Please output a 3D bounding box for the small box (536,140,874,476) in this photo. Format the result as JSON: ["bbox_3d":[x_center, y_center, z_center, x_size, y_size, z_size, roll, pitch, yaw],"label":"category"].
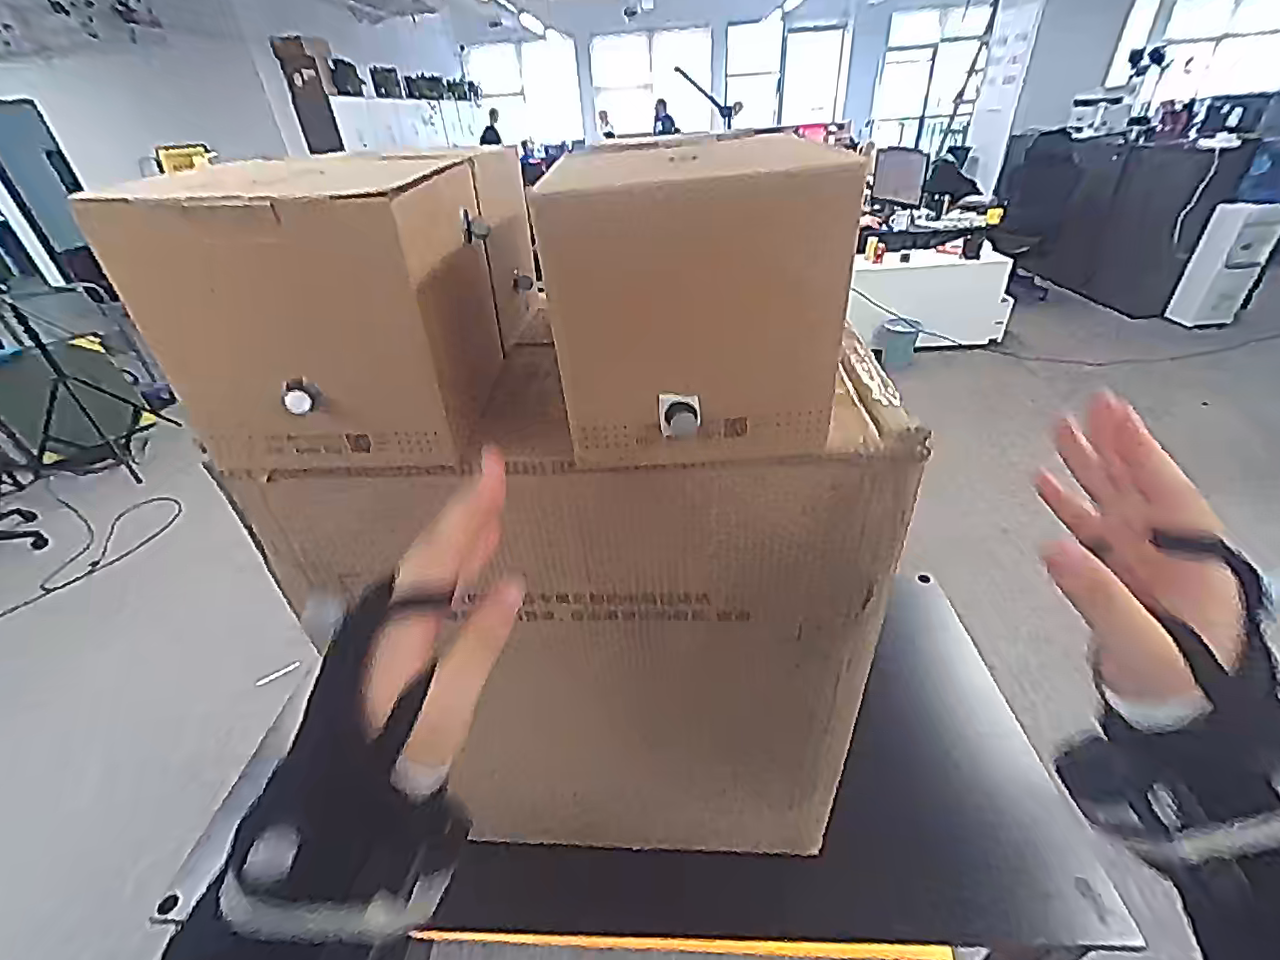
[{"bbox_3d":[0.035,-0.122,0.372,0.168,0.176,0.179,-6,36,2],"label":"small box"}]
